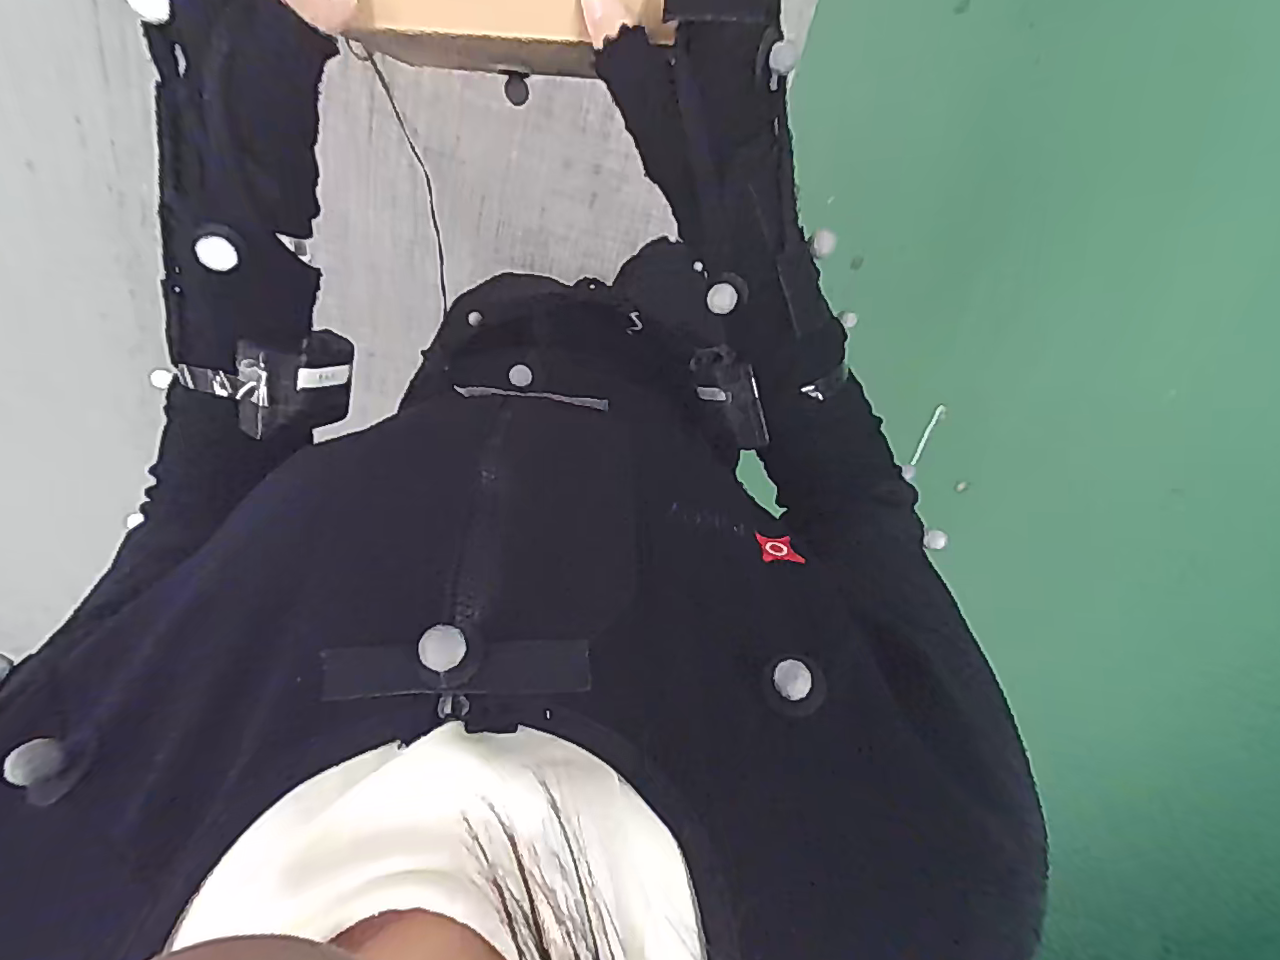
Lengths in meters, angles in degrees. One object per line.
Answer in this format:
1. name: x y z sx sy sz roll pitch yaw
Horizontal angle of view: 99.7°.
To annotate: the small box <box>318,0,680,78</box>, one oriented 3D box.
1. small box: -0.066 -0.319 0.264 0.168 0.176 0.179 0 121 -5
